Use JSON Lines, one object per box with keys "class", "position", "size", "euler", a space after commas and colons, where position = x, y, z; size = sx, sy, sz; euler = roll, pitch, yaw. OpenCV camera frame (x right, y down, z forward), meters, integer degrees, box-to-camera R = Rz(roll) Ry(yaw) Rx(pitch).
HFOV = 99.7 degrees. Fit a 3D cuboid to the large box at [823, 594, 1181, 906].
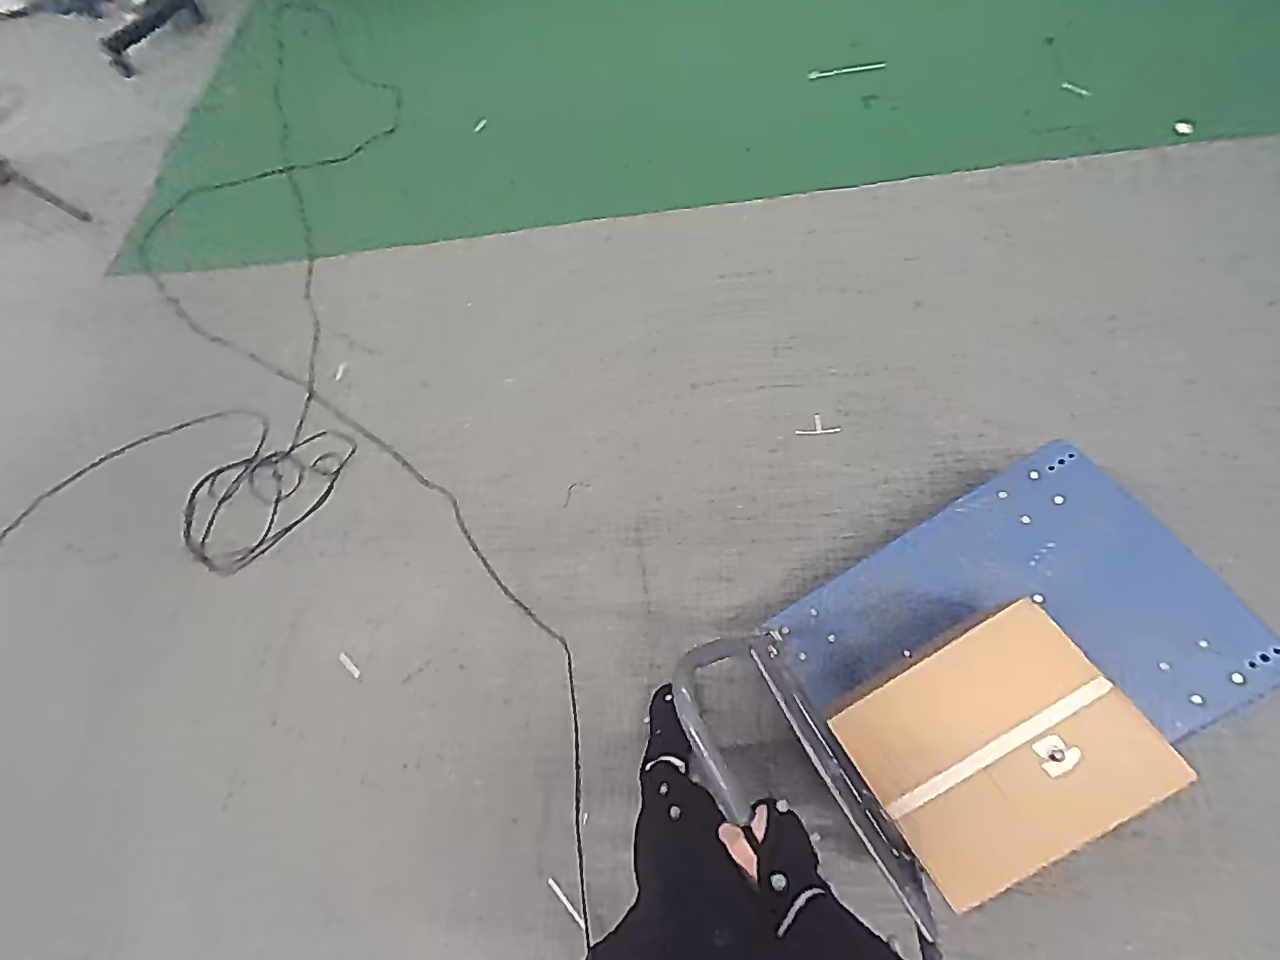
{"class": "large box", "position": [0.598, 0.465, 0.996], "size": [0.408, 0.320, 0.320], "euler": [-34, 66, 5]}
